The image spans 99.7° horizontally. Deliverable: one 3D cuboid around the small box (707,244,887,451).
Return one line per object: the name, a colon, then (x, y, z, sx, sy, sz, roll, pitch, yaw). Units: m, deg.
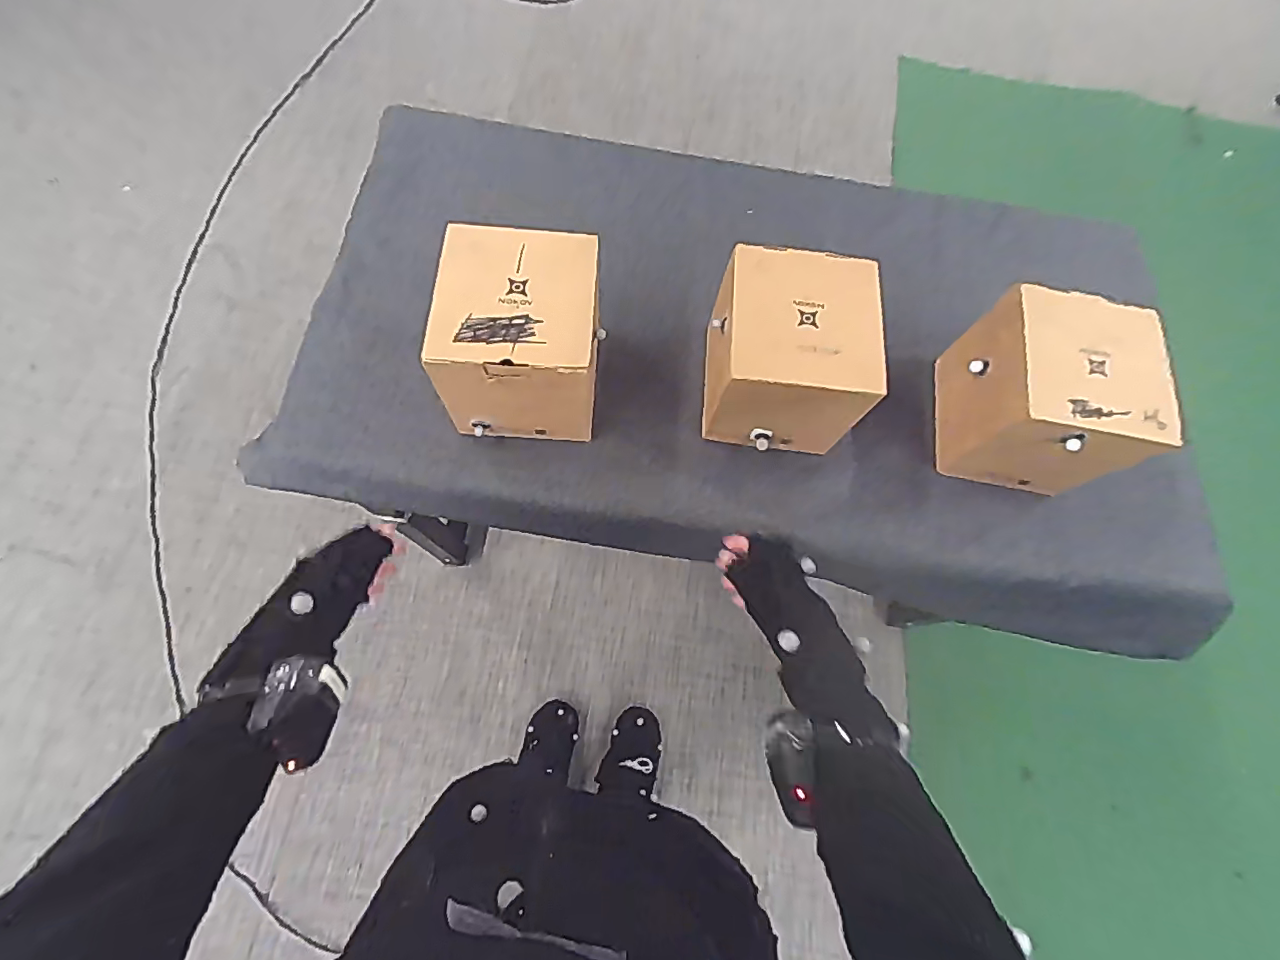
small box: (0.178, -0.152, 0.661, 0.168, 0.176, 0.179, 5, 71, -1)

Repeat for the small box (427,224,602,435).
small box: (-0.132, -0.166, 0.638, 0.168, 0.176, 0.179, 3, 69, -4)

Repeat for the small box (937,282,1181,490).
small box: (0.490, -0.106, 0.665, 0.168, 0.176, 0.179, 10, 70, 0)
